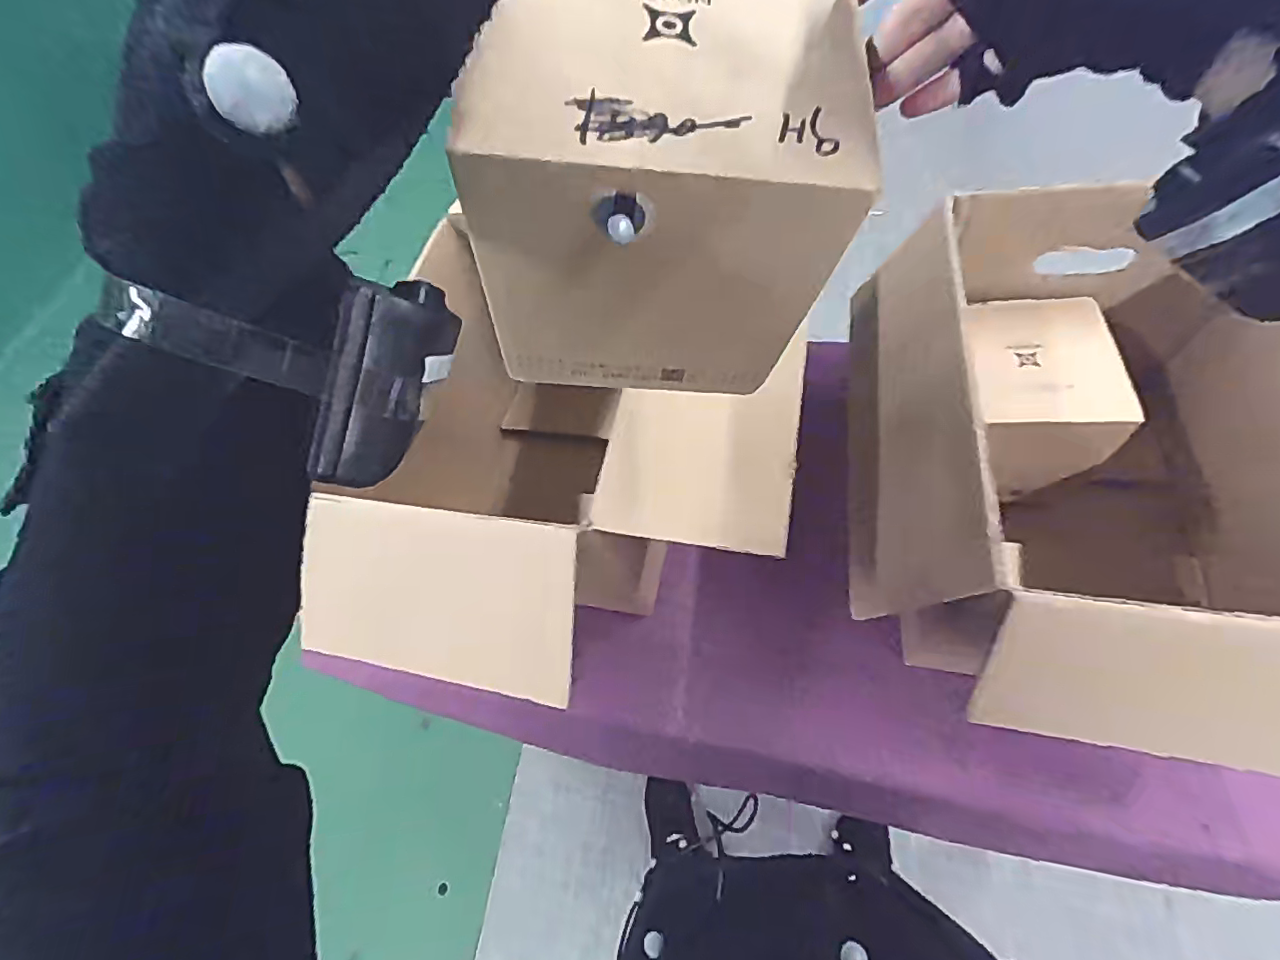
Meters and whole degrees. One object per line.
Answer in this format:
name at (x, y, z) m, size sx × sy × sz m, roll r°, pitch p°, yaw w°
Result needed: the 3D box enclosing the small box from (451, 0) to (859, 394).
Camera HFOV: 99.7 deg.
small box at (0.003, -0.172, 0.316) m, size 0.168 × 0.176 × 0.179 m, roll 3°, pitch 70°, yaw -4°
